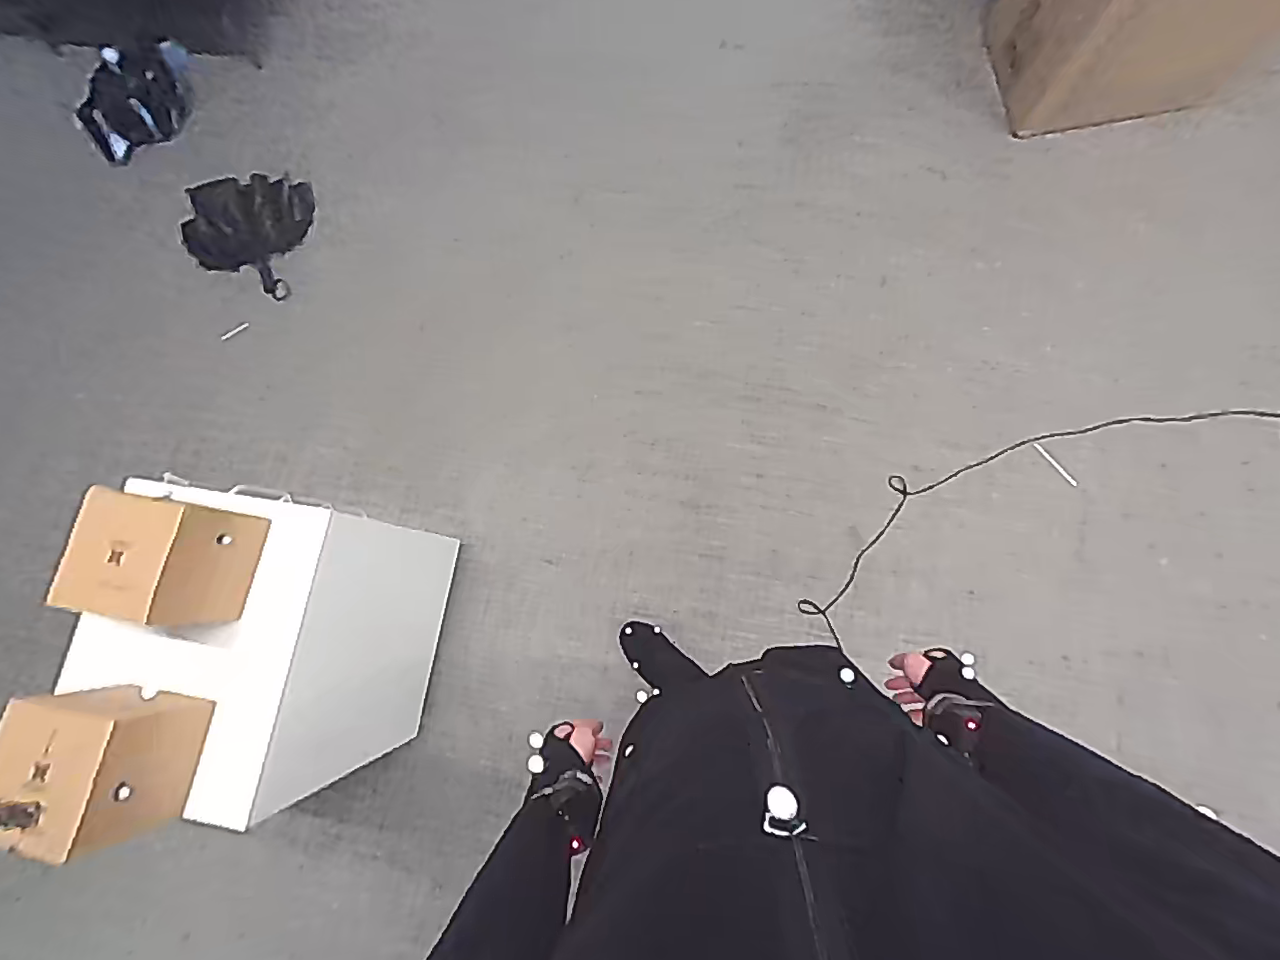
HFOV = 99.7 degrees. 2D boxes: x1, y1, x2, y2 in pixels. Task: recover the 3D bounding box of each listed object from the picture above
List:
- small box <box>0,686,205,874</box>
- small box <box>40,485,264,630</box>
[{"bbox_3d":[-0.776,0.407,0.766,0.168,0.176,0.179,8,77,5],"label":"small box"},{"bbox_3d":[-0.722,0.118,0.825,0.168,0.176,0.179,10,81,7],"label":"small box"}]
